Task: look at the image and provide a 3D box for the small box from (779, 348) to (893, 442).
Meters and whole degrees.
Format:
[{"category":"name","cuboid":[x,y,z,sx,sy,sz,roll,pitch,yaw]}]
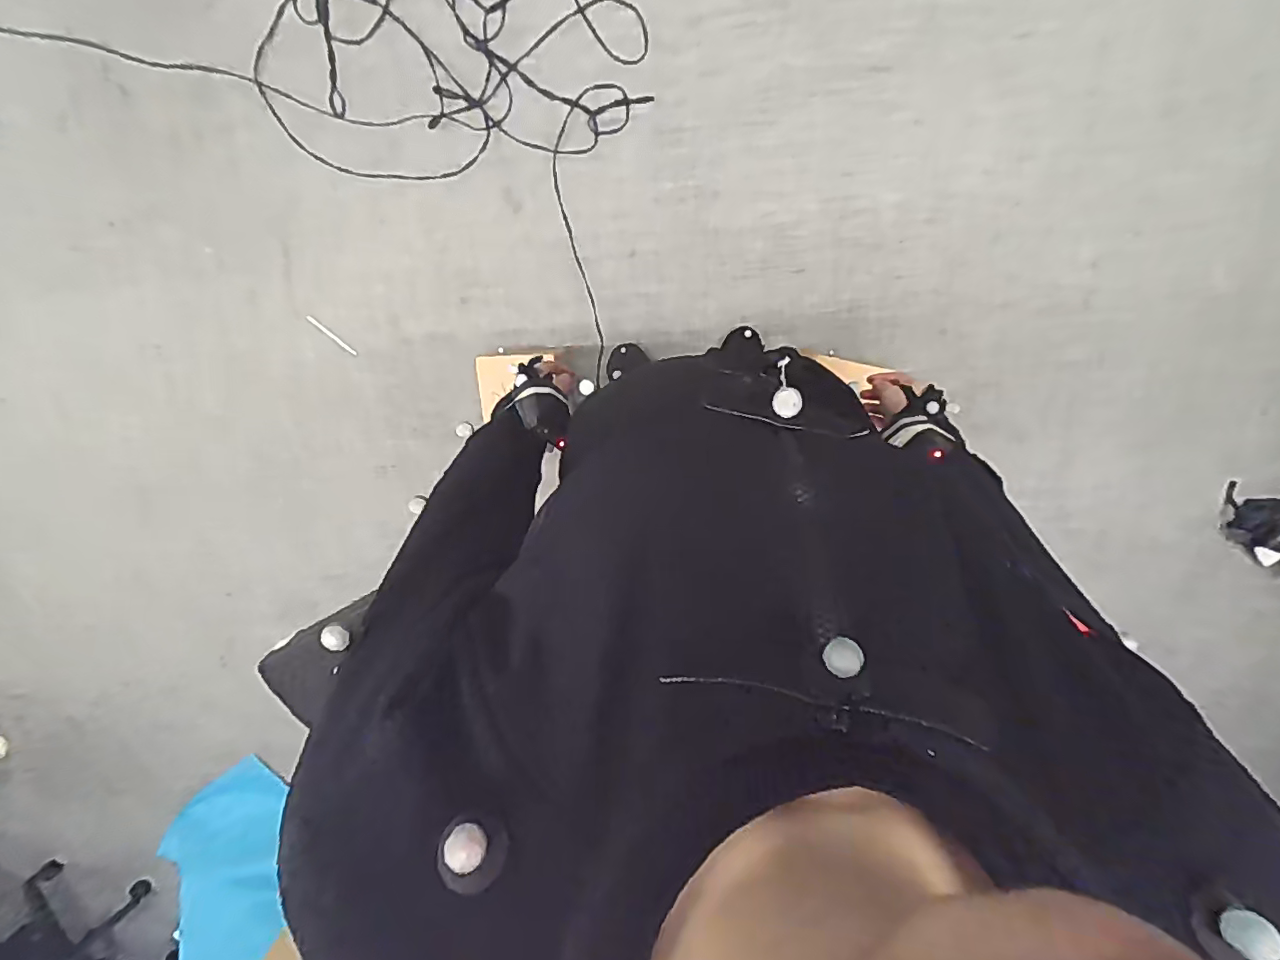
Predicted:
[{"category":"small box","cuboid":[0.434,-0.199,1.229,0.179,0.176,0.168,11,109,0]}]
